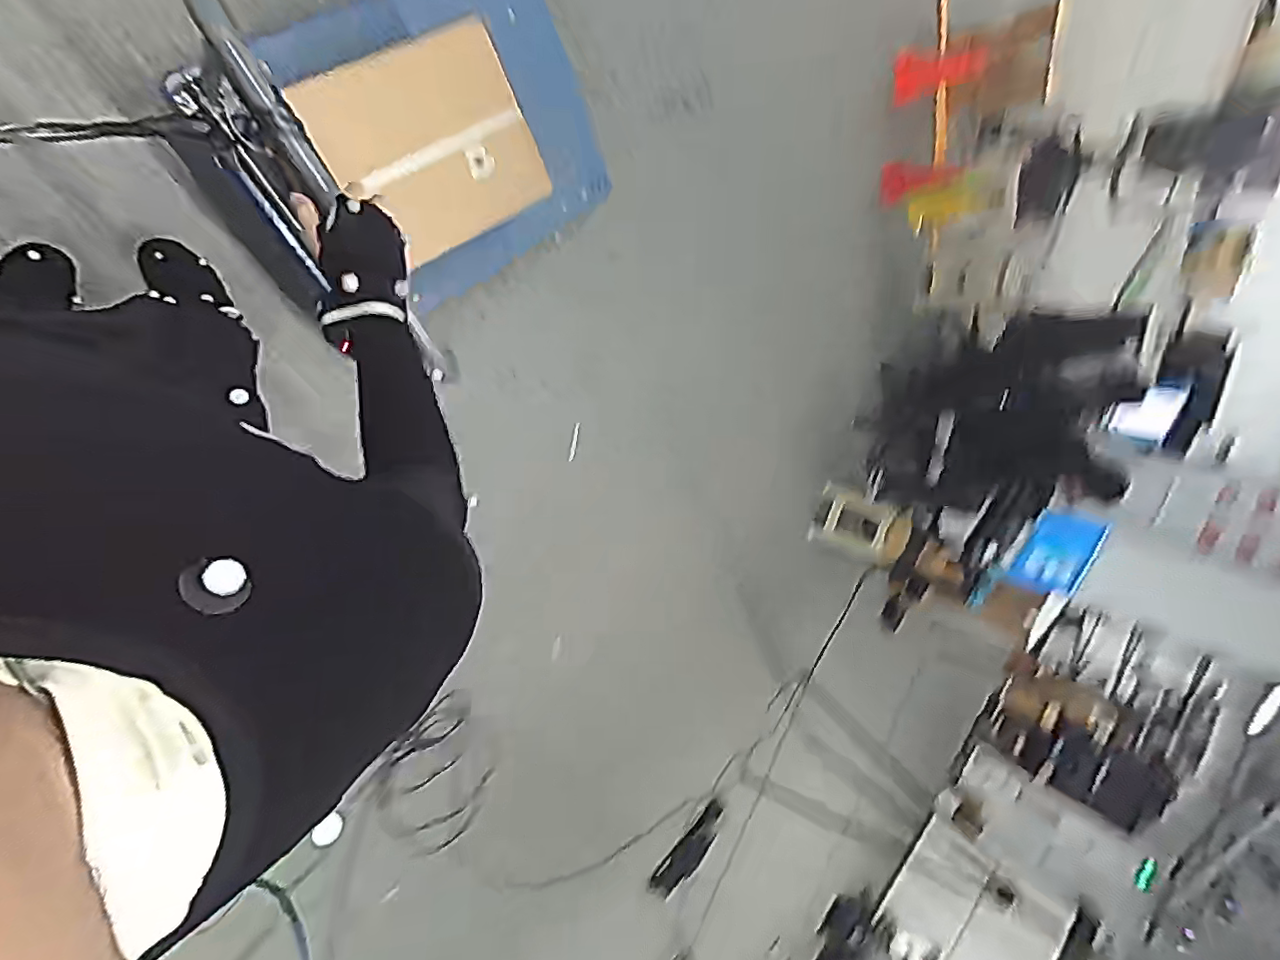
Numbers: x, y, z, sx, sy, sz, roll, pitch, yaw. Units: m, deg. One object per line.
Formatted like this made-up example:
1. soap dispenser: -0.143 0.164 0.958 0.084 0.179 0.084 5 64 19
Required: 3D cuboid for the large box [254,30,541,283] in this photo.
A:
1. large box: -0.499 -0.655 1.141 0.408 0.320 0.320 -42 129 -23
